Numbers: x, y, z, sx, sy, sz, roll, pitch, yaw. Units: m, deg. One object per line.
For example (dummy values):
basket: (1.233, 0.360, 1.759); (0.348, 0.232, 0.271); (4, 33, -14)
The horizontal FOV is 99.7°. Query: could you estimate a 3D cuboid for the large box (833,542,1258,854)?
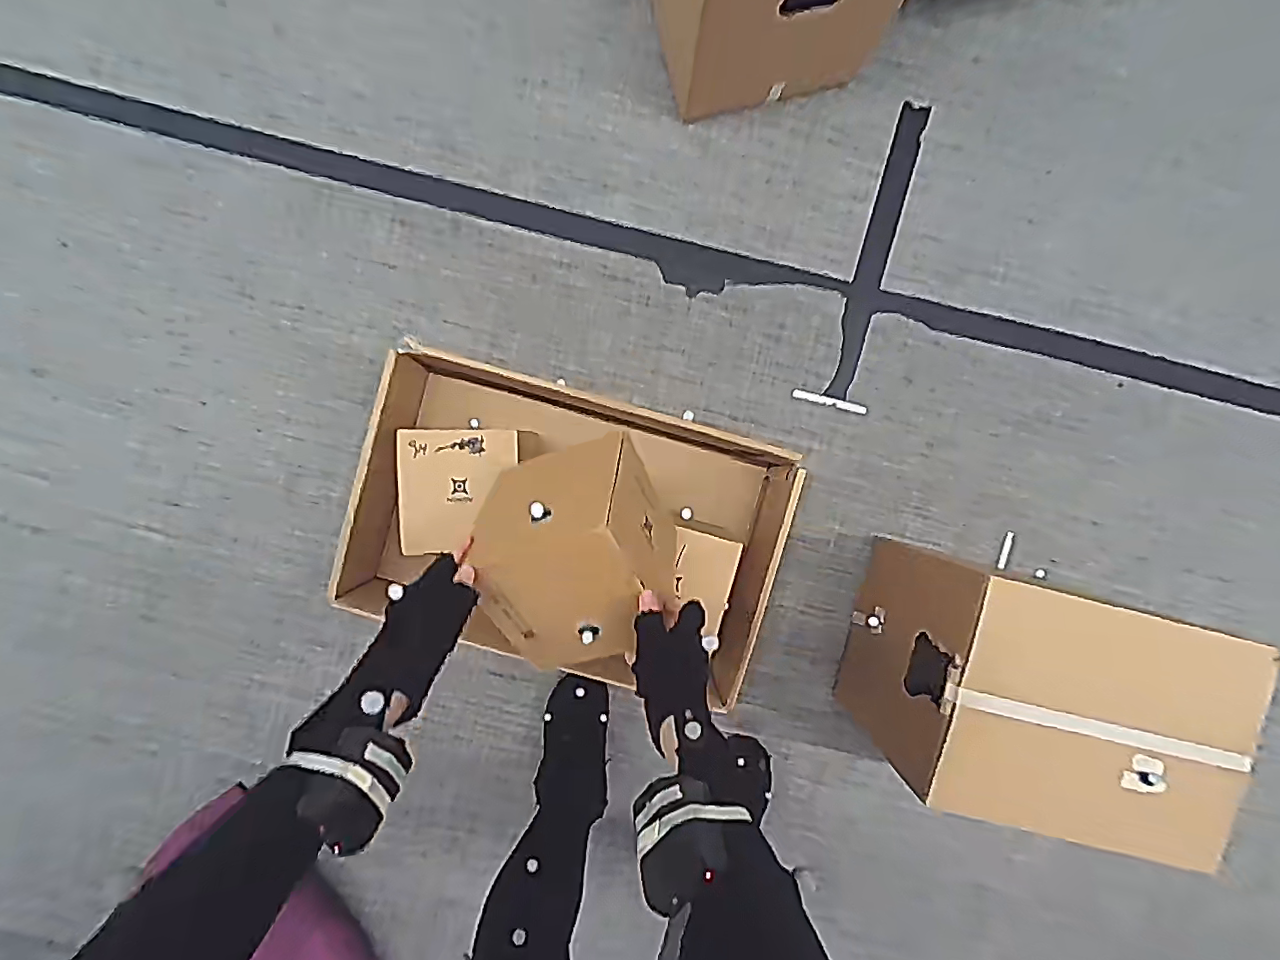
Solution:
large box: (0.580, 0.303, 0.851); (0.408, 0.320, 0.320); (14, 93, -3)
